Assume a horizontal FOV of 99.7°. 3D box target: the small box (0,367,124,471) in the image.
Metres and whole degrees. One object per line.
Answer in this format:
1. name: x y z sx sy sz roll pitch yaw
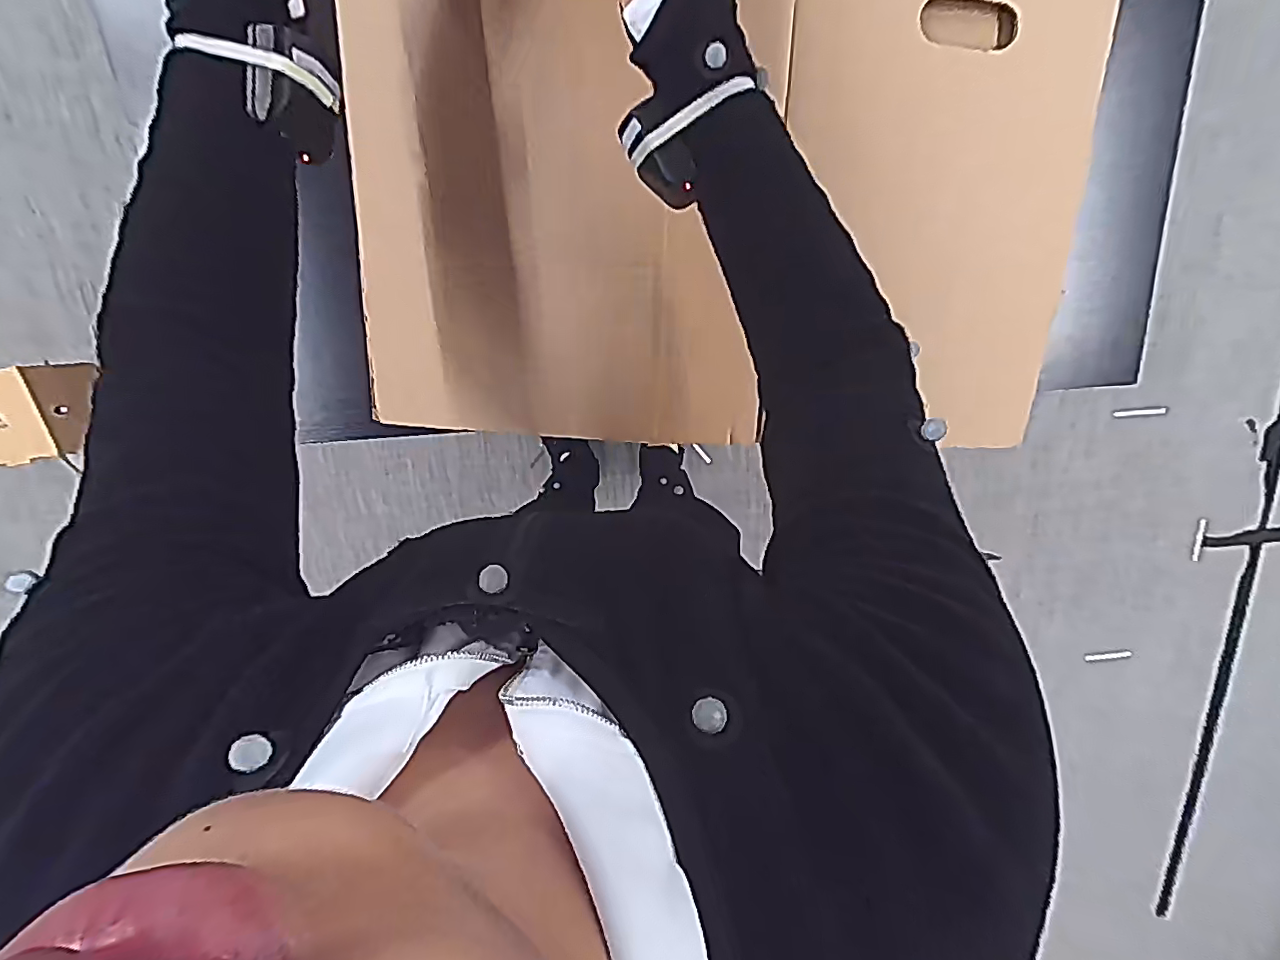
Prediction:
1. small box: -1.230 -0.129 1.106 0.168 0.176 0.179 -12 105 -2
